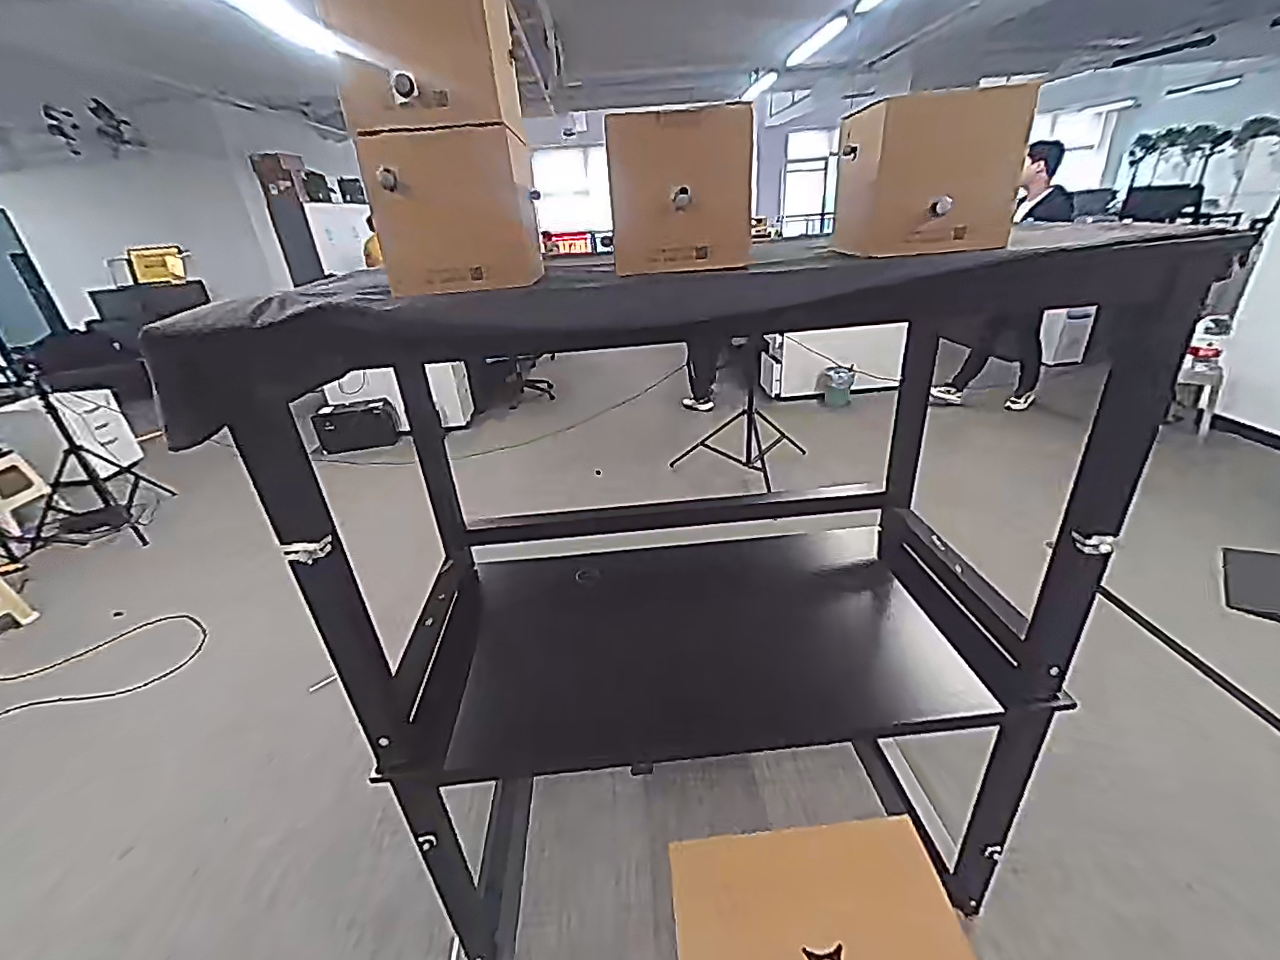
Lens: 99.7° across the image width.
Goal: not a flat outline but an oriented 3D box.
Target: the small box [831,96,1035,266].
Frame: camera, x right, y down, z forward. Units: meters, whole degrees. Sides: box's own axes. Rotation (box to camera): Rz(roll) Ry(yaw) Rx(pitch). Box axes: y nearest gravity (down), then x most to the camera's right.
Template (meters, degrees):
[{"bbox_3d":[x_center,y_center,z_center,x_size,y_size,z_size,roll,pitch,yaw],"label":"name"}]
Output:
[{"bbox_3d":[0.356,-0.374,0.699,0.168,0.176,0.179,-3,26,4],"label":"small box"}]

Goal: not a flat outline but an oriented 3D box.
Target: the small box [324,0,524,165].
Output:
[{"bbox_3d":[-0.234,-0.470,0.621,0.168,0.176,0.179,-6,26,-1],"label":"small box"}]

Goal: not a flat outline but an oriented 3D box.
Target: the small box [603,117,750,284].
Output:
[{"bbox_3d":[0.043,-0.348,0.696,0.168,0.176,0.179,-4,25,-1],"label":"small box"}]

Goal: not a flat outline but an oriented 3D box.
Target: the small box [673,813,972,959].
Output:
[{"bbox_3d":[0.115,0.349,0.335,0.168,0.176,0.179,-8,28,2],"label":"small box"}]
